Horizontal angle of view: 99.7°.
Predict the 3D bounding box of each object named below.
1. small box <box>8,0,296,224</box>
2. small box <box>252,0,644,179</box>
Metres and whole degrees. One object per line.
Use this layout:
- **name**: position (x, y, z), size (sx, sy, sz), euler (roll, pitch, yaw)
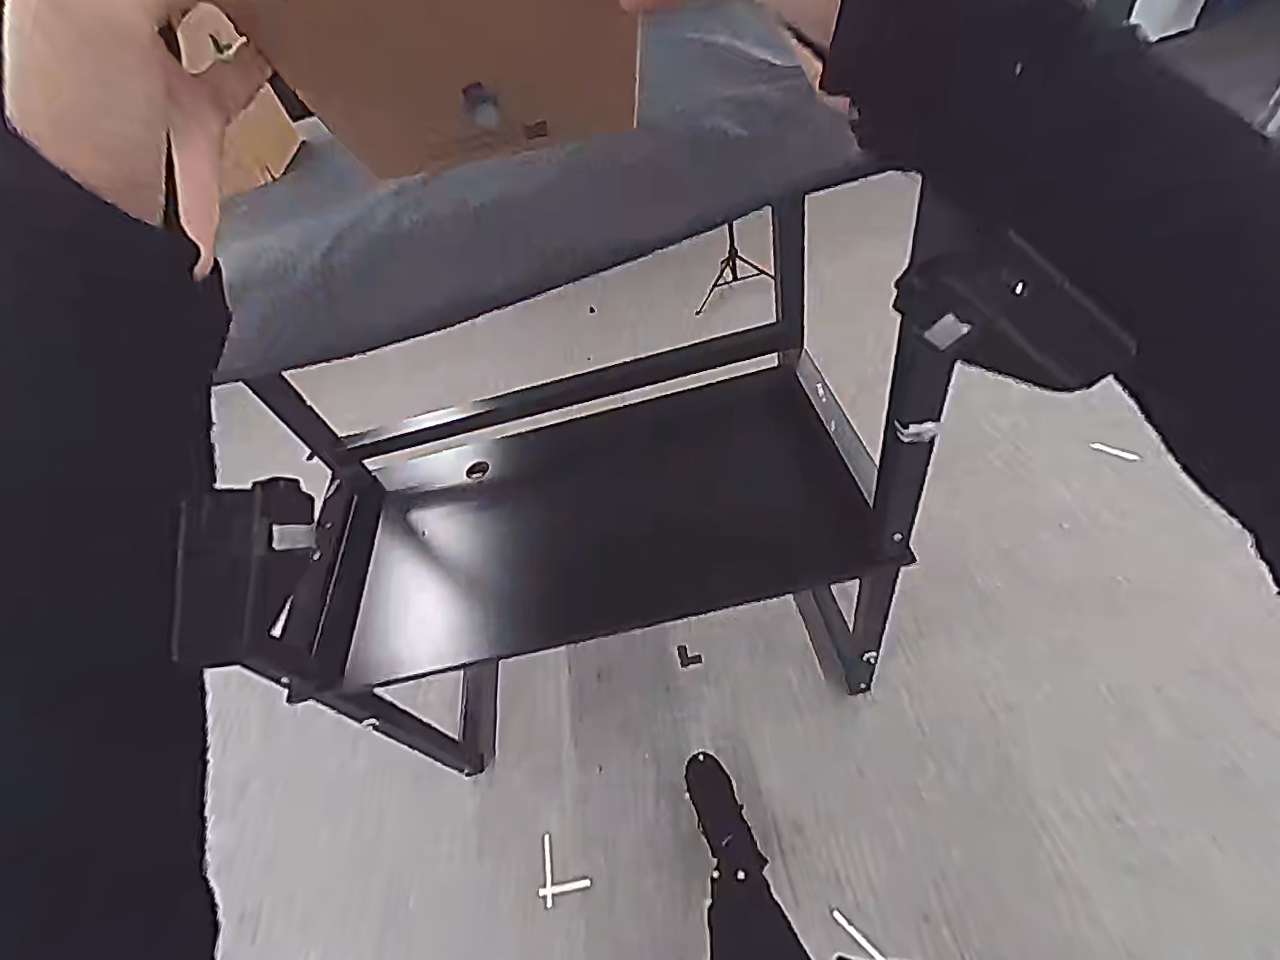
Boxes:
- **small box**: position (-0.556, -0.441, 0.653), size (0.168, 0.176, 0.179), euler (-19, 49, 0)
- **small box**: position (-0.095, -0.280, 0.248), size (0.168, 0.176, 0.179), euler (-13, 93, -1)
